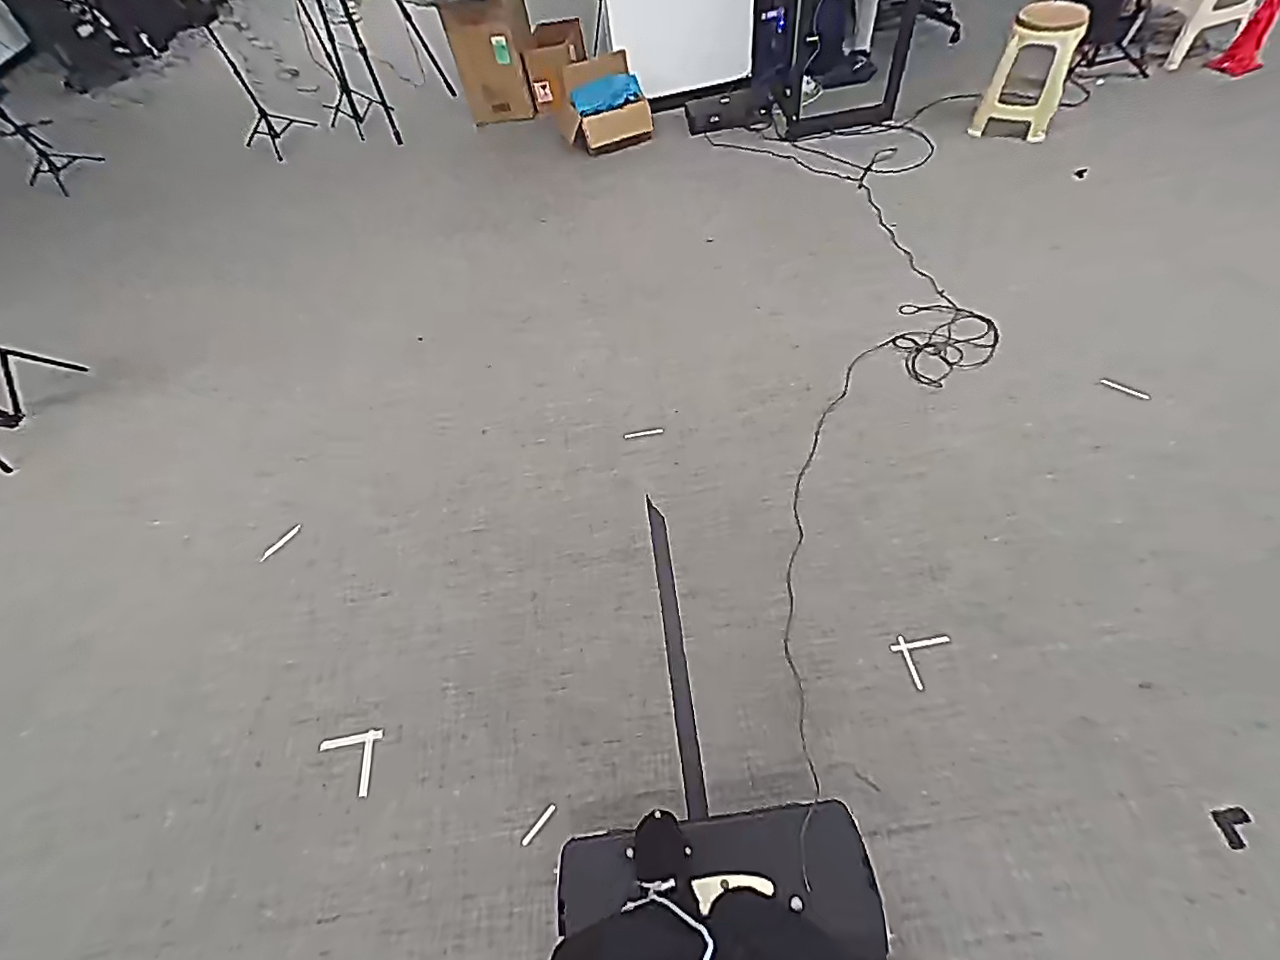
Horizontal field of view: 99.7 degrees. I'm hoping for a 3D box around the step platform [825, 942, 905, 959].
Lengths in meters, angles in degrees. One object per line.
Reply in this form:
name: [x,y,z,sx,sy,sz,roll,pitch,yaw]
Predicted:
step platform: [0.198,1.070,0.971,0.684,0.204,0.286,-11,54,2]
